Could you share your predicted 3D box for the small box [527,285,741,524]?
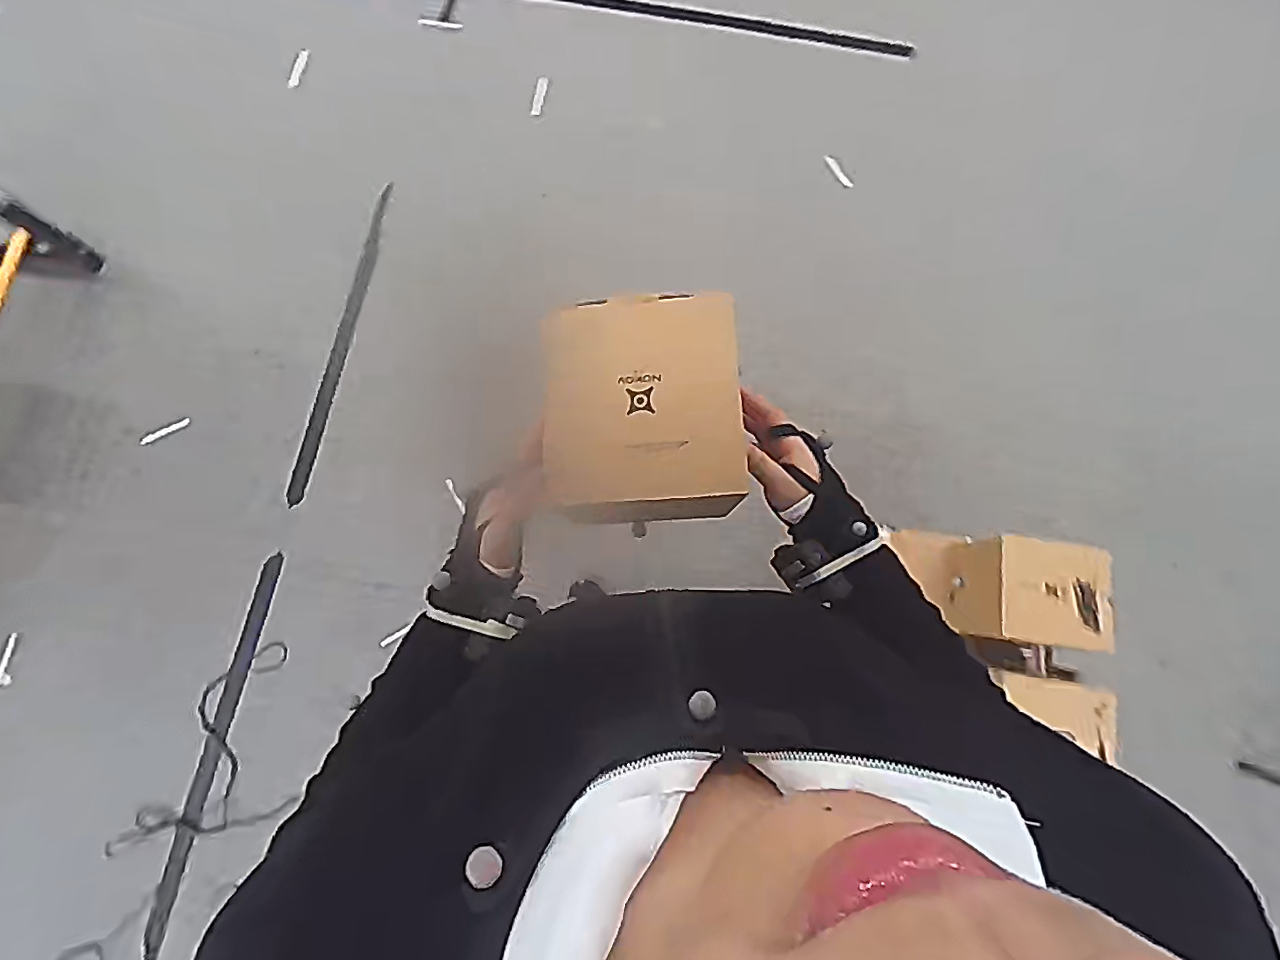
[{"bbox_3d":[-0.005,-0.058,0.513,0.168,0.176,0.179,-5,80,2],"label":"small box"}]
